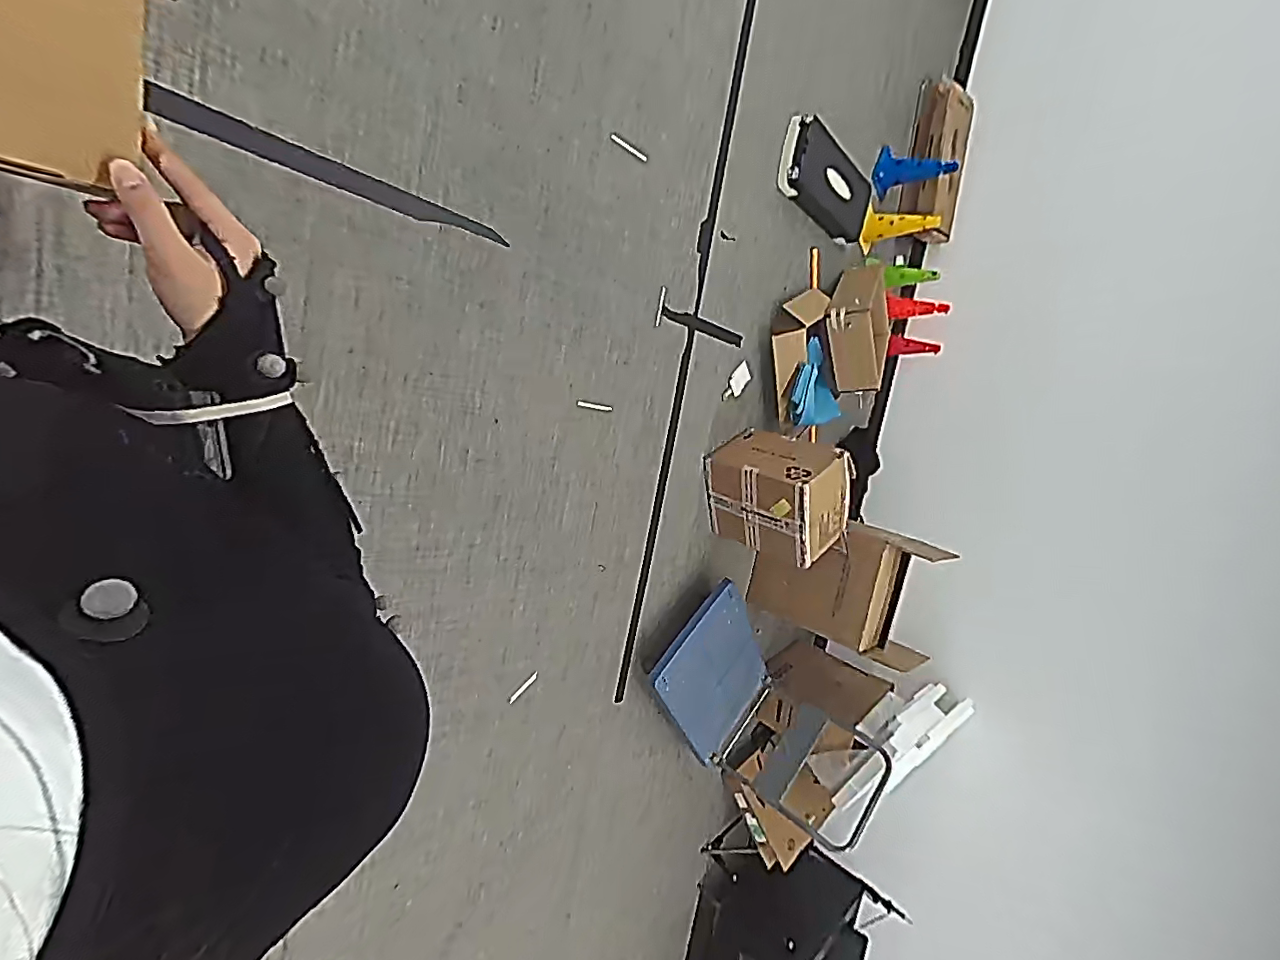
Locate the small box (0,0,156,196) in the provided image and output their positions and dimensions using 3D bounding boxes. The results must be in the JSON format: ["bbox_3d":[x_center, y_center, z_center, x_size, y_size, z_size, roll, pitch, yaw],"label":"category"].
[{"bbox_3d":[-0.379,-0.278,0.294,0.168,0.176,0.179,2,107,-44],"label":"small box"}]
